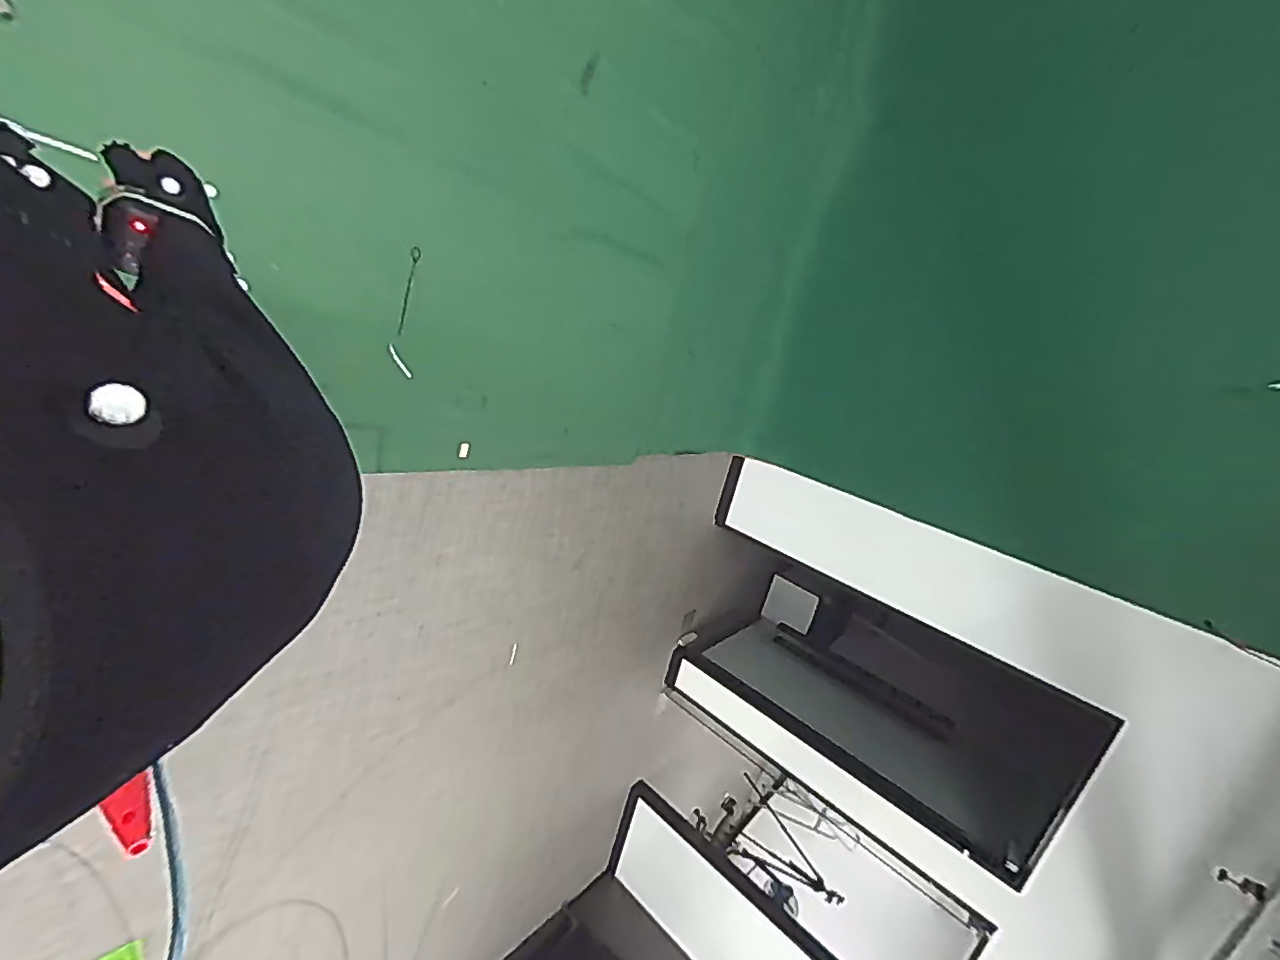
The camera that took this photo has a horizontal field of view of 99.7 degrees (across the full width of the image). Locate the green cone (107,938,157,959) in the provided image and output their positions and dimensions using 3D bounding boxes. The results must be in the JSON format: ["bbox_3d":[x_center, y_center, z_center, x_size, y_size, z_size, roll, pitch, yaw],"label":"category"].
[{"bbox_3d":[-1.395,1.500,1.448,0.202,0.368,0.200,-7,116,-49],"label":"green cone"}]
